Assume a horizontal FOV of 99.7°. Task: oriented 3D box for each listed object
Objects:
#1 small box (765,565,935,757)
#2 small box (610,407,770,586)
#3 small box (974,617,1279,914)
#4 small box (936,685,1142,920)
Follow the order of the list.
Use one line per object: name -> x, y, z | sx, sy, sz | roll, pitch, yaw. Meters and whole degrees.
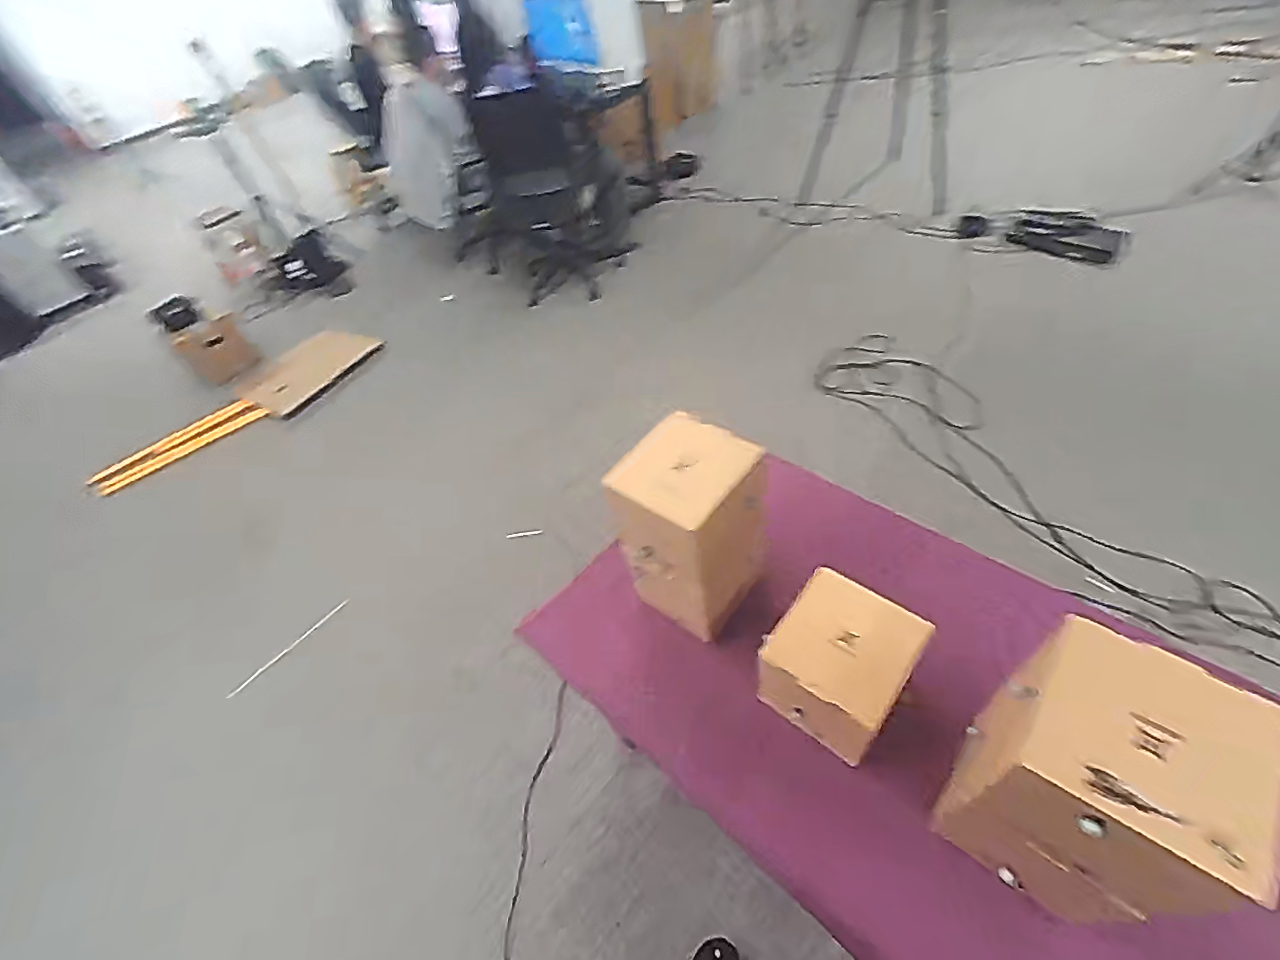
small box -> 0.296, 0.267, 0.797 | 0.168, 0.176, 0.179 | 30, 62, 32
small box -> 0.081, 0.026, 0.829 | 0.168, 0.176, 0.179 | 29, 61, 31
small box -> 0.462, 0.277, 0.531 | 0.168, 0.176, 0.179 | 28, 60, 31
small box -> 0.487, 0.383, 0.654 | 0.168, 0.176, 0.179 | 29, 61, 32
